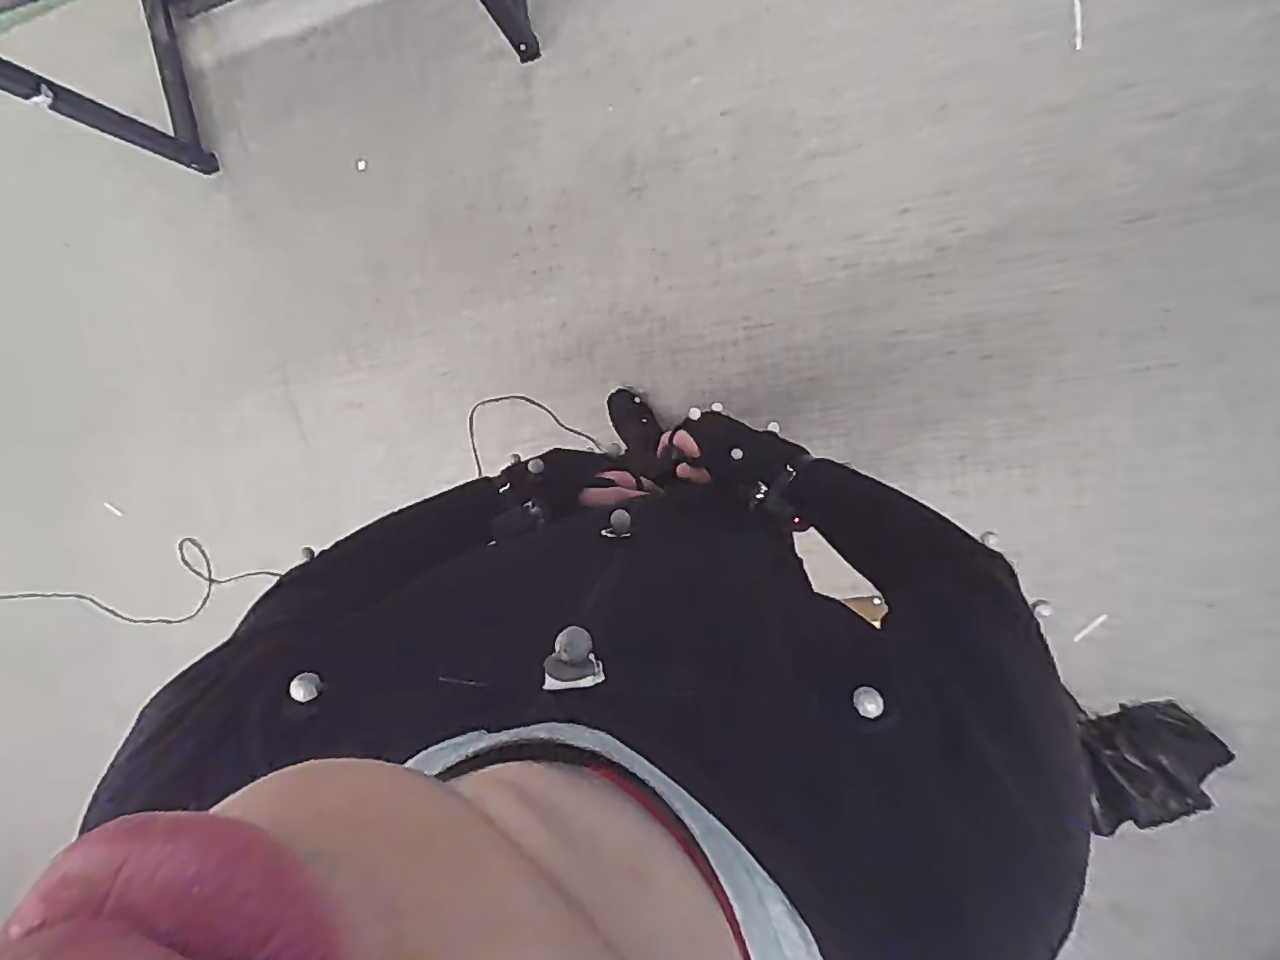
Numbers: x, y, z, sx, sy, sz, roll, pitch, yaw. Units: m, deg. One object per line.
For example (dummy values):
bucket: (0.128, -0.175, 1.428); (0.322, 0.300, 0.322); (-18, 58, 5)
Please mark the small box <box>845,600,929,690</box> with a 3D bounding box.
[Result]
small box: (0.635, 0.425, 1.405); (0.168, 0.176, 0.179); (-7, 94, 14)
